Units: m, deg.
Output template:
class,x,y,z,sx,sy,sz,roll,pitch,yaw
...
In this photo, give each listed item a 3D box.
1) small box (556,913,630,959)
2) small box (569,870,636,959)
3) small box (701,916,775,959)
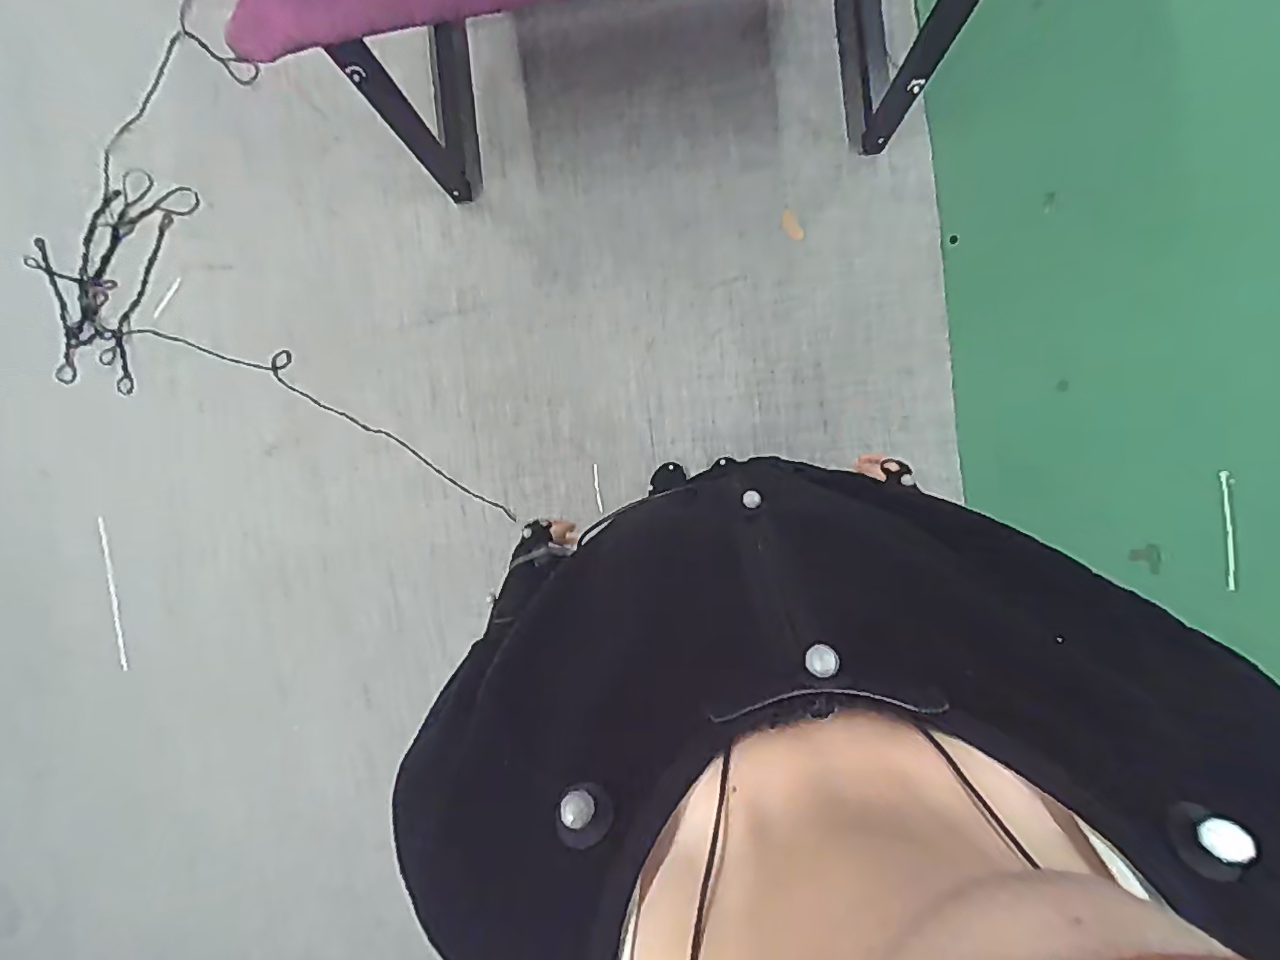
class,x,y,z,sx,sy,sz,roll,pitch,yaw
small box,-0.117,1.204,1.302,0.168,0.176,0.179,4,91,4
small box,-0.100,1.203,1.465,0.168,0.176,0.179,1,92,5
small box,0.230,1.183,1.279,0.168,0.176,0.179,2,92,5
